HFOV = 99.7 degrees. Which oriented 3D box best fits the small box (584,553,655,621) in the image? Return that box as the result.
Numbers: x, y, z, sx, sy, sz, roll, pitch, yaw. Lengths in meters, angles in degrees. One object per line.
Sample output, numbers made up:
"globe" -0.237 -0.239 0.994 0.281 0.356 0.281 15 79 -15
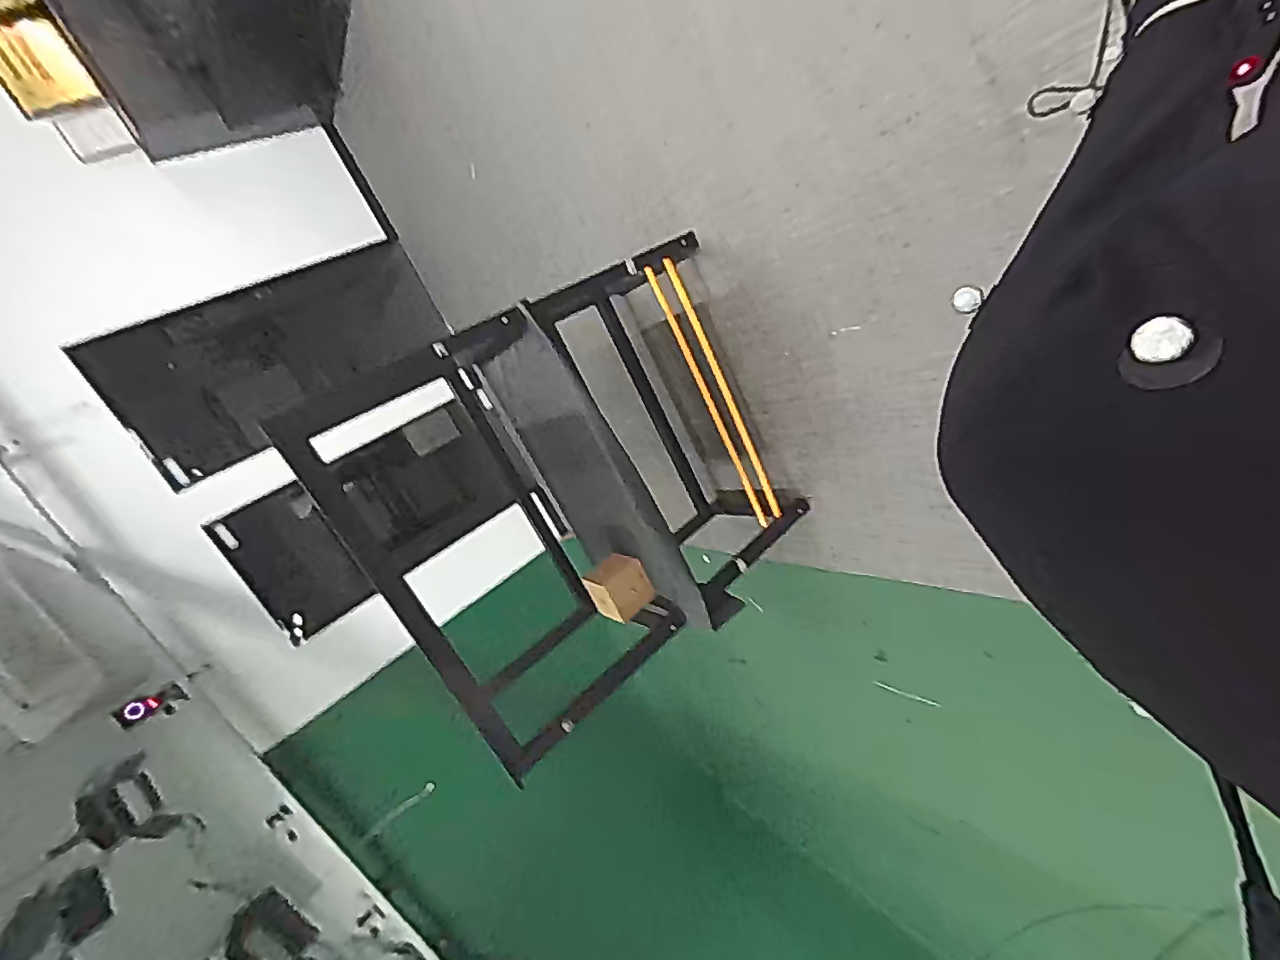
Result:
"small box" -0.067 0.385 1.979 0.179 0.176 0.168 3 123 57
